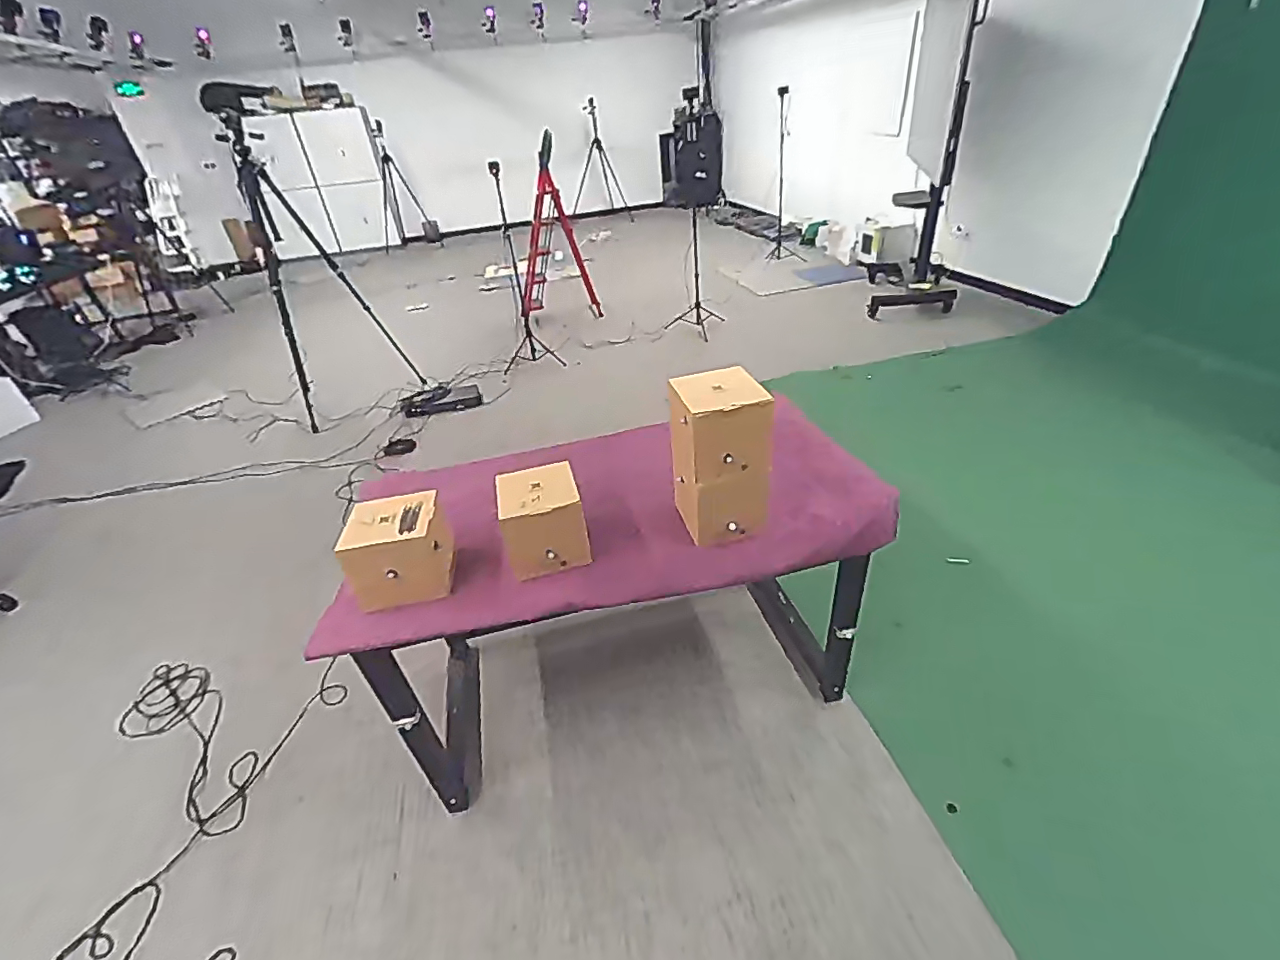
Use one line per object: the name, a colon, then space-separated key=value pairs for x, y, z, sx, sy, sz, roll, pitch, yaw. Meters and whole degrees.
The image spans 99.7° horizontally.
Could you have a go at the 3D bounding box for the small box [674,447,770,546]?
small box: x=0.178 y=0.022 z=1.216 sx=0.168 sy=0.176 sz=0.179 roll=-12 pitch=35 yaw=-8

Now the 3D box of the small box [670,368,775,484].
small box: x=0.165 y=-0.114 z=1.128 sx=0.168 sy=0.176 sz=0.179 roll=-12 pitch=35 yaw=-9

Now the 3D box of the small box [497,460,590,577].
small box: x=-0.211 y=0.083 z=1.180 sx=0.168 sy=0.176 sz=0.179 roll=-13 pitch=34 yaw=-10
